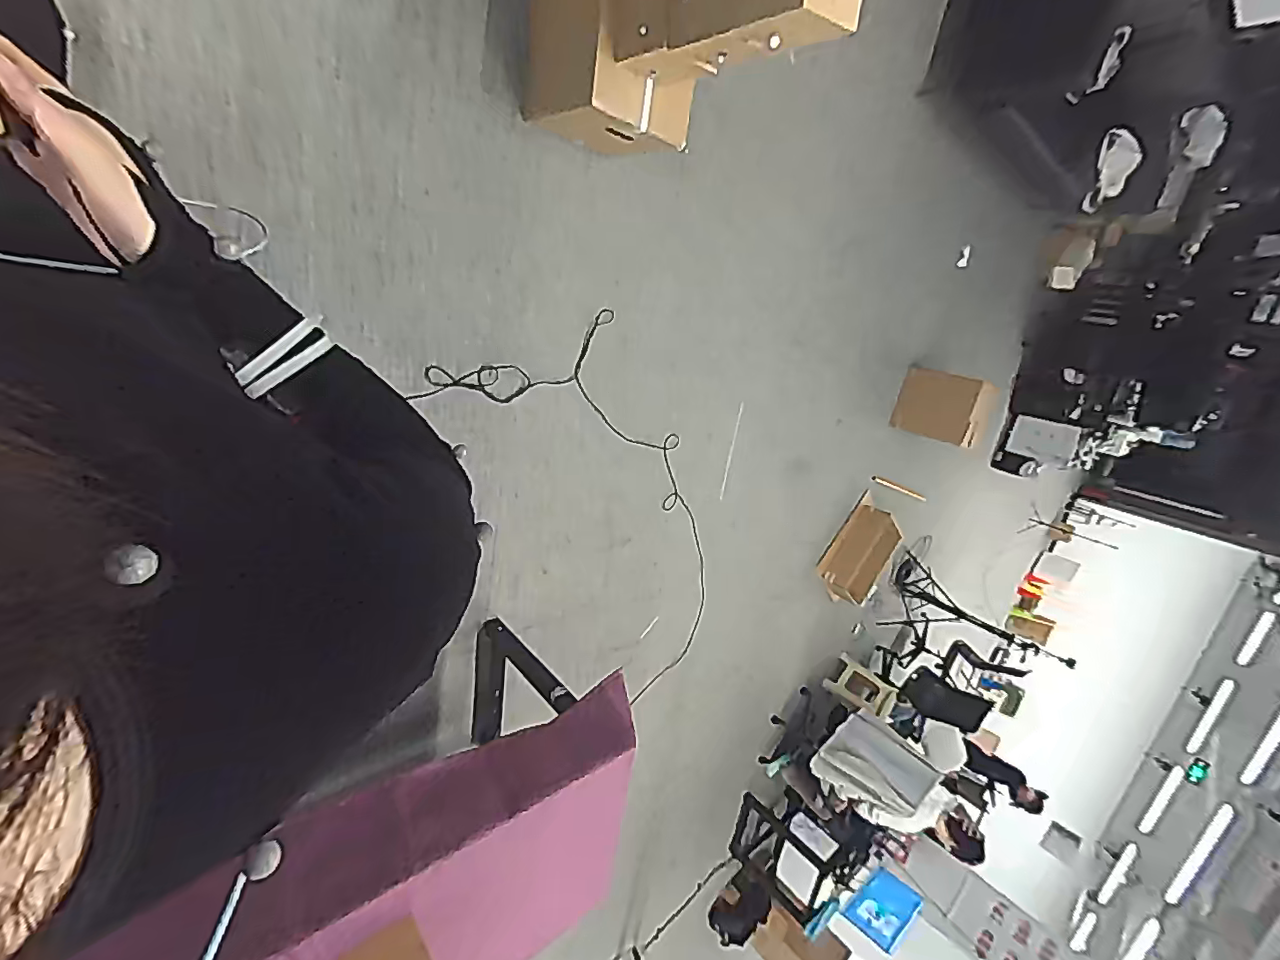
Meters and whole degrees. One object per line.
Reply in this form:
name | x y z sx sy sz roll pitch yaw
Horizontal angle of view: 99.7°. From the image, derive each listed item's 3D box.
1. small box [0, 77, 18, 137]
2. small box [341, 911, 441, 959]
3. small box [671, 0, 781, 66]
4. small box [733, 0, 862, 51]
small box | -0.414 -0.256 0.223 0.168 0.176 0.179 -21 127 -42
small box | -0.482 0.999 1.036 0.179 0.176 0.168 -9 116 -41
small box | 0.178 -0.956 1.074 0.168 0.176 0.179 -16 120 -37
small box | 0.283 -0.902 0.958 0.168 0.176 0.179 -16 120 -36
